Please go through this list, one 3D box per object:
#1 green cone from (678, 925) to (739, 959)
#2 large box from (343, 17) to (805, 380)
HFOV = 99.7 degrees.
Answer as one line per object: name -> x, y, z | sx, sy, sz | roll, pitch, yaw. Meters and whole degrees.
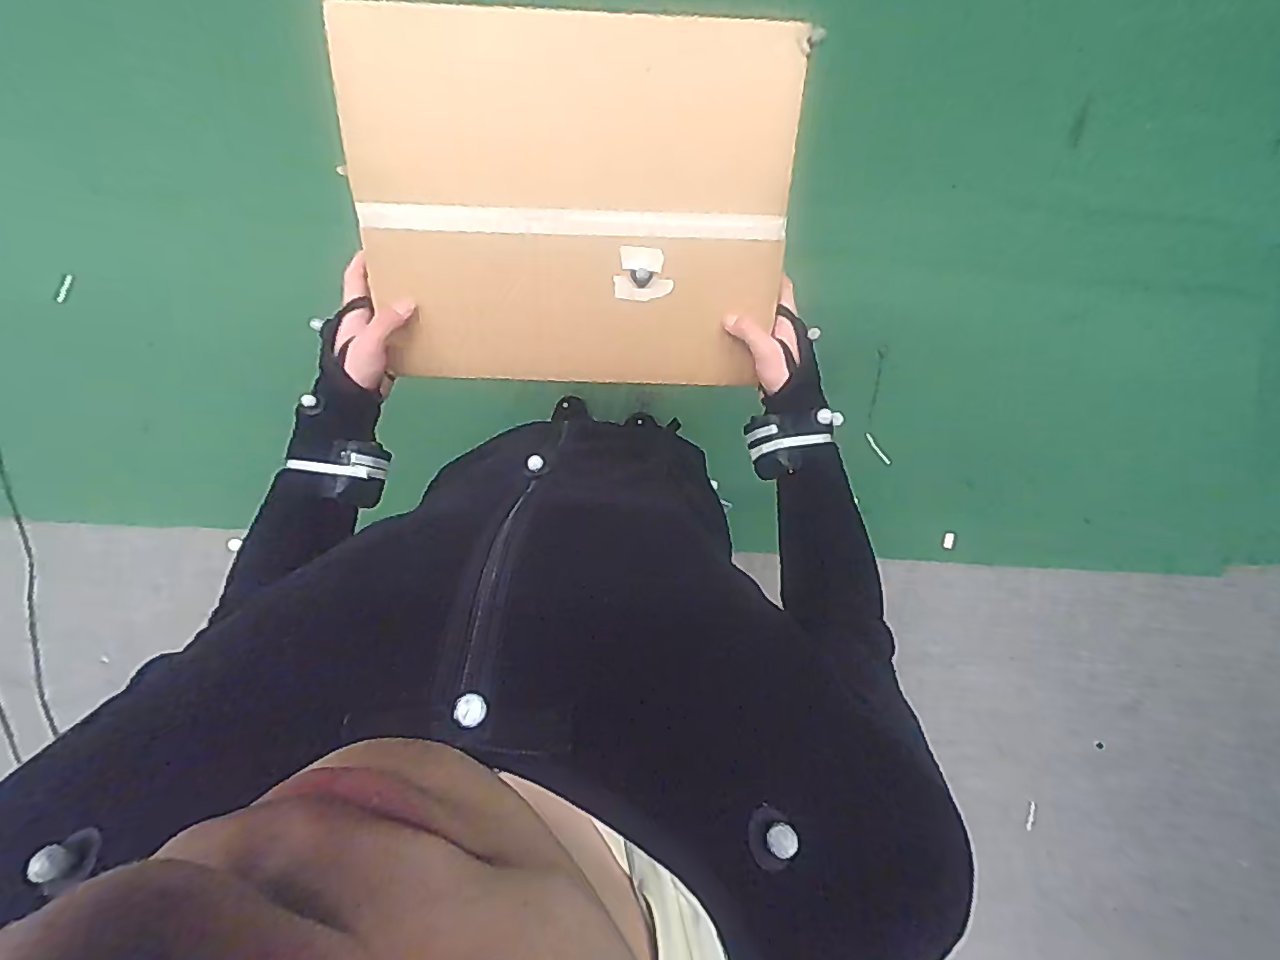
green cone -> 0.248, 1.695, 1.745 | 0.200, 0.368, 0.202 | 9, 97, -3
large box -> -0.062, -0.312, 0.658 | 0.408, 0.320, 0.320 | 1, 116, -2
